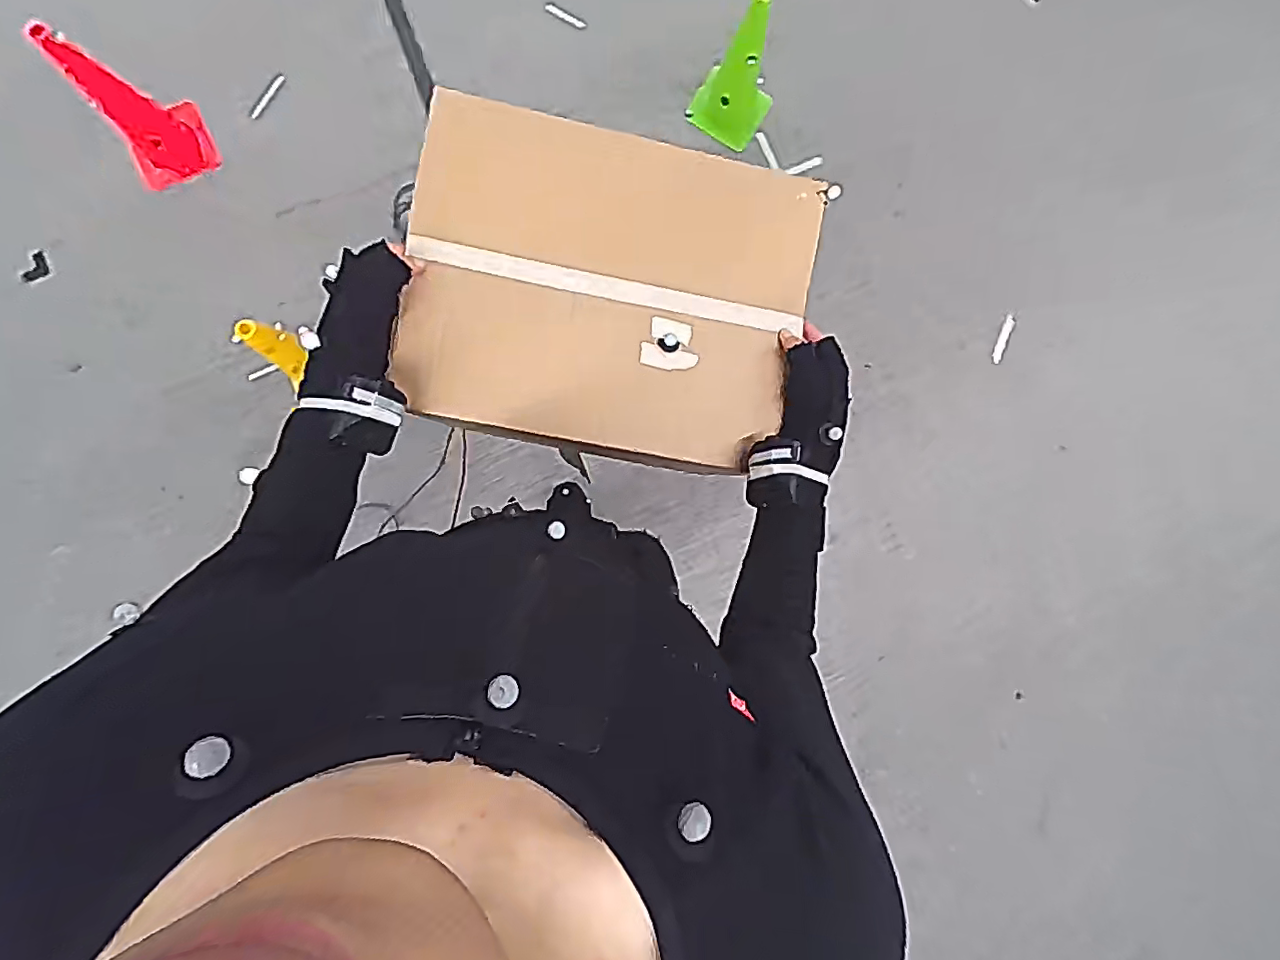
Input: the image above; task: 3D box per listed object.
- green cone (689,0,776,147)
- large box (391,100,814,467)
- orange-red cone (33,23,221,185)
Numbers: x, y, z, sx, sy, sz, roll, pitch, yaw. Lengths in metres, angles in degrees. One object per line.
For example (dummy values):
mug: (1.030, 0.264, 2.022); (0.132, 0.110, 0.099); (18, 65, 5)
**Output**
green cone: (0.282, -1.097, 1.397); (0.200, 0.368, 0.202); (31, 84, -3)
large box: (-0.049, -0.199, 0.700); (0.408, 0.320, 0.320); (9, 90, -7)
orange-red cone: (-1.240, -0.915, 1.286); (0.198, 0.360, 0.199); (-24, 90, -4)
